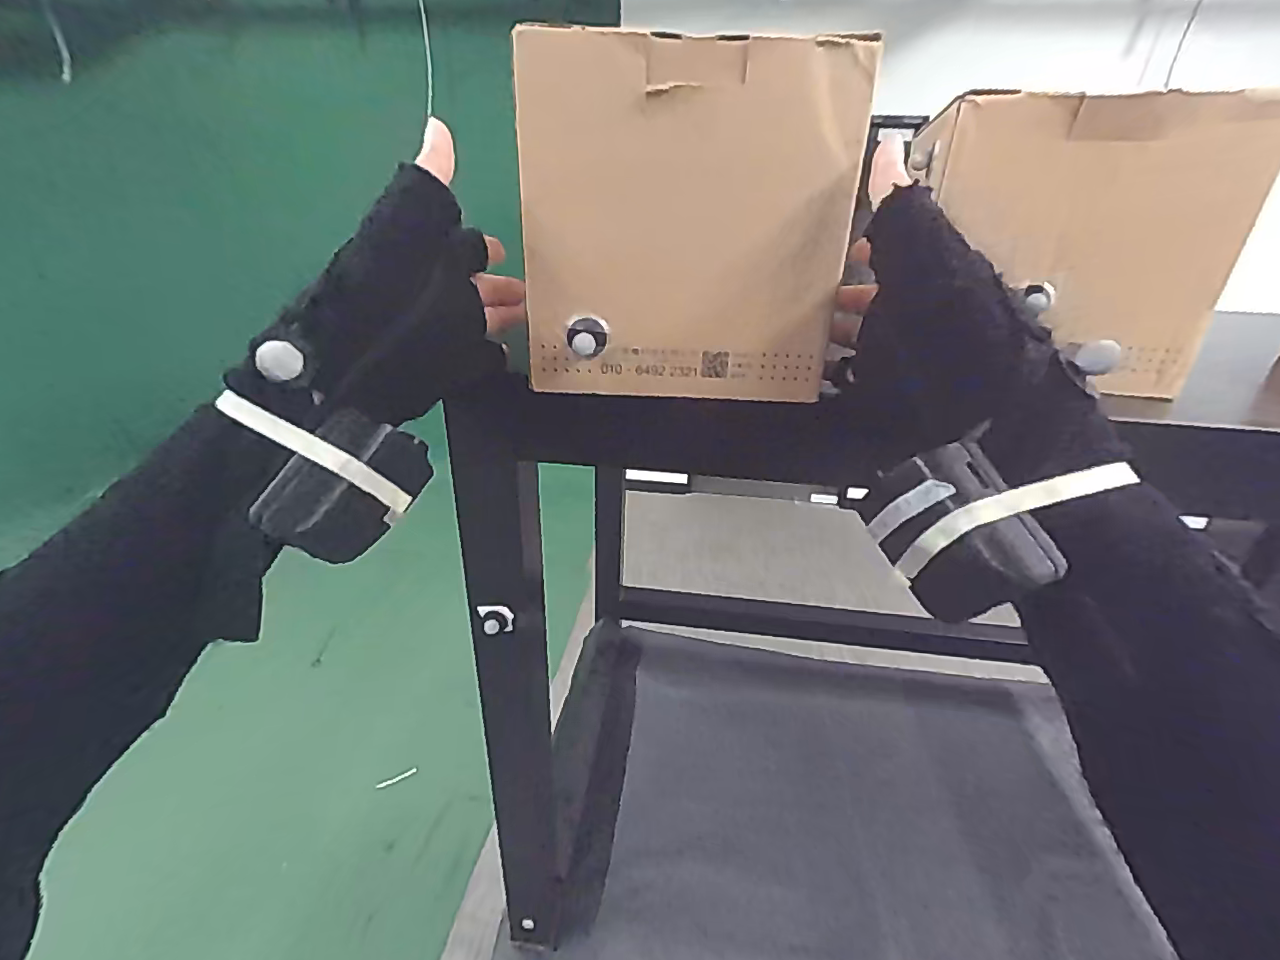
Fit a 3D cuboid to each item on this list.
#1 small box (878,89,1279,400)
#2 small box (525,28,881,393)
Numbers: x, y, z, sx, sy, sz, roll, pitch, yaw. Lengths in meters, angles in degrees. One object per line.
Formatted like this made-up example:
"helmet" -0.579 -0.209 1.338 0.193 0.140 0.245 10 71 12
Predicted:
"small box" 0.288 -0.169 0.402 0.168 0.176 0.179 9 26 13
"small box" 0.029 -0.158 0.350 0.168 0.176 0.179 2 24 0
